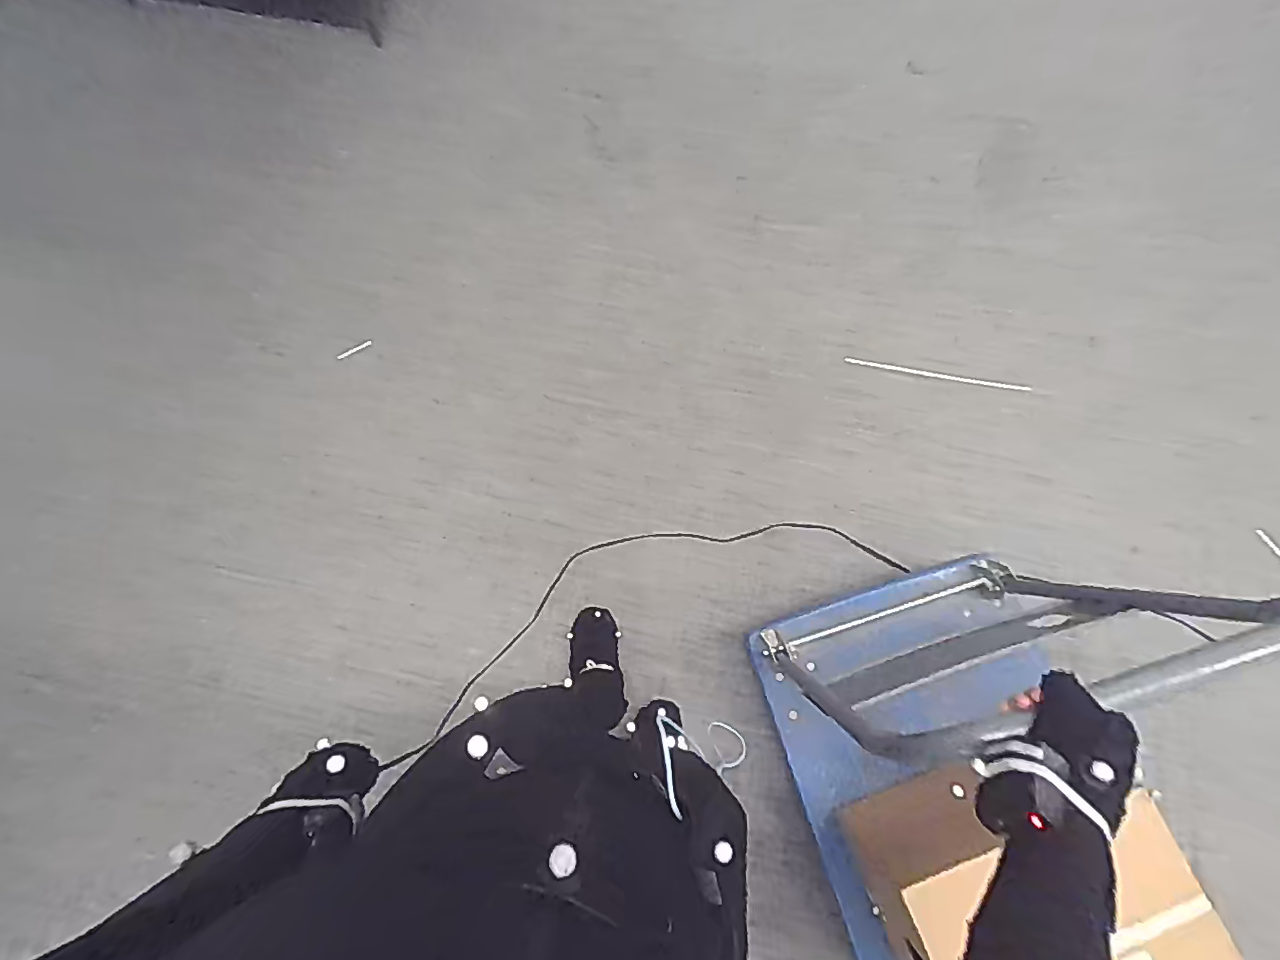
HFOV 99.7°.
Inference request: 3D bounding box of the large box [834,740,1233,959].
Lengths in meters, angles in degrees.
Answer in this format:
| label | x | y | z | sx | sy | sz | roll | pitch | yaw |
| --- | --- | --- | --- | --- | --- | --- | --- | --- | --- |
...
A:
| label | x | y | z | sx | sy | sz | roll | pitch | yaw |
| --- | --- | --- | --- | --- | --- | --- | --- | --- | --- |
| large box | 0.613 | 0.696 | 0.905 | 0.408 | 0.320 | 0.320 | -21 | 79 | -4 |
